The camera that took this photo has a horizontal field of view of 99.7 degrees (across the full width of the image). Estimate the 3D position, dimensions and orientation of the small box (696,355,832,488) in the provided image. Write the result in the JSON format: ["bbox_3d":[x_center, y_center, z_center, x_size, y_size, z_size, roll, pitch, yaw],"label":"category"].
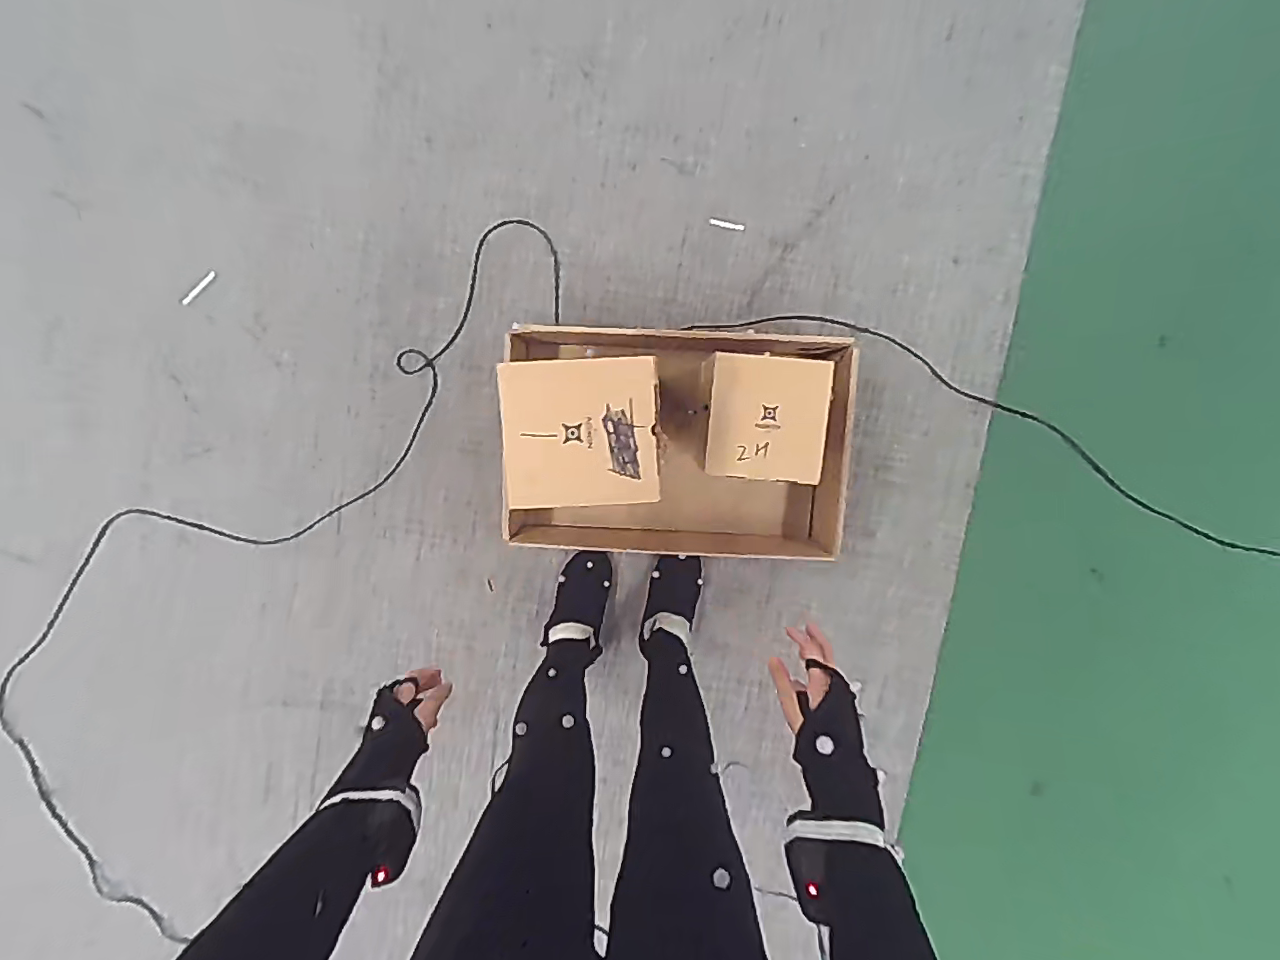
[{"bbox_3d":[0.180,-0.091,0.836,0.168,0.176,0.179,5,98,2],"label":"small box"}]

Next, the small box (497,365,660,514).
[{"bbox_3d":[-0.068,-0.057,0.684,0.179,0.176,0.168,-3,98,1],"label":"small box"}]
